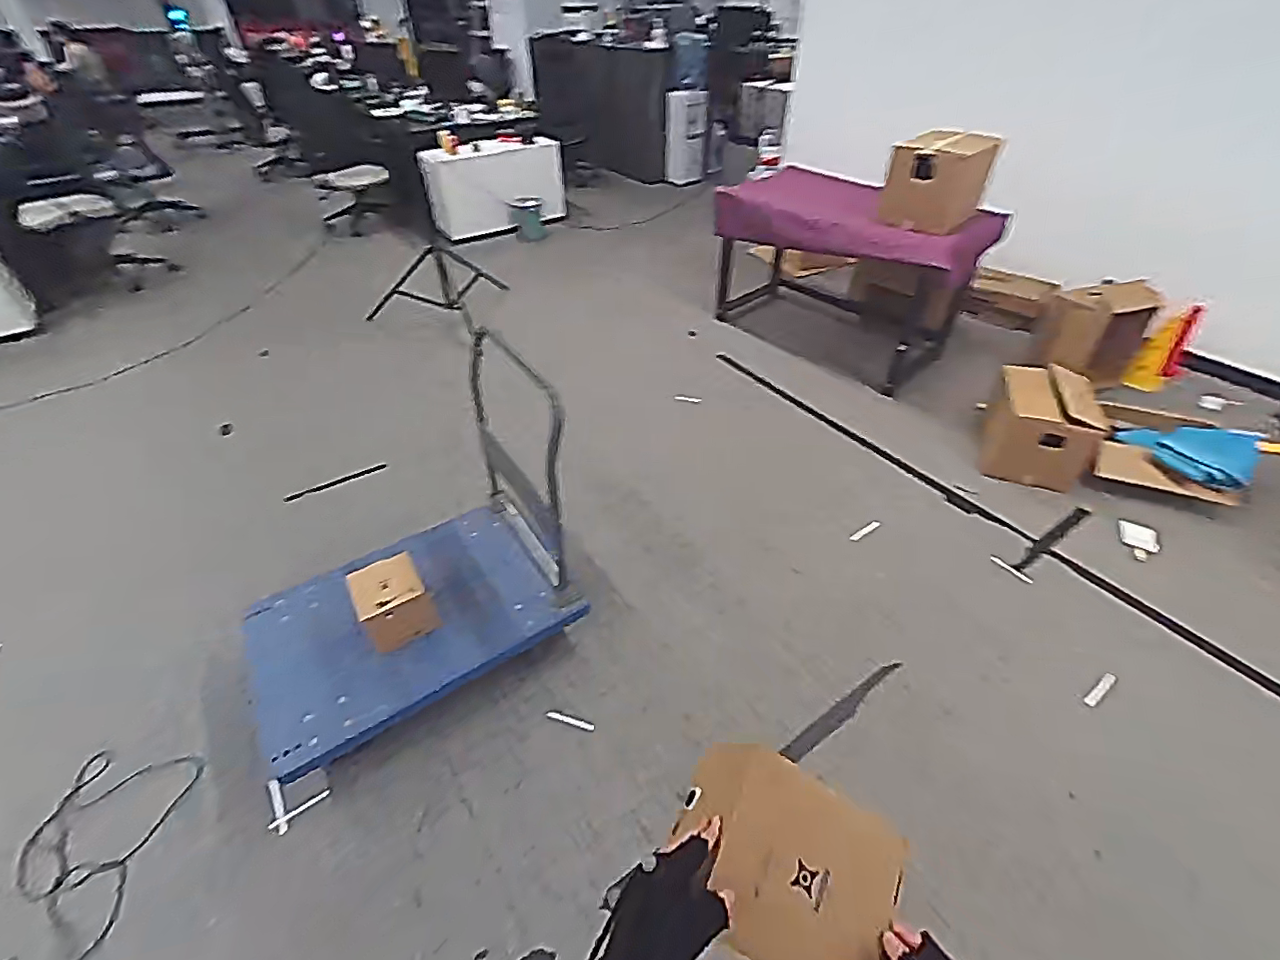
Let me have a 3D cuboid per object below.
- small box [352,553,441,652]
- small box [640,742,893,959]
[{"bbox_3d":[-0.682,0.343,1.520,0.168,0.176,0.179,-24,46,-23],"label":"small box"},{"bbox_3d":[0.123,0.397,0.570,0.179,0.176,0.168,30,60,2],"label":"small box"}]
